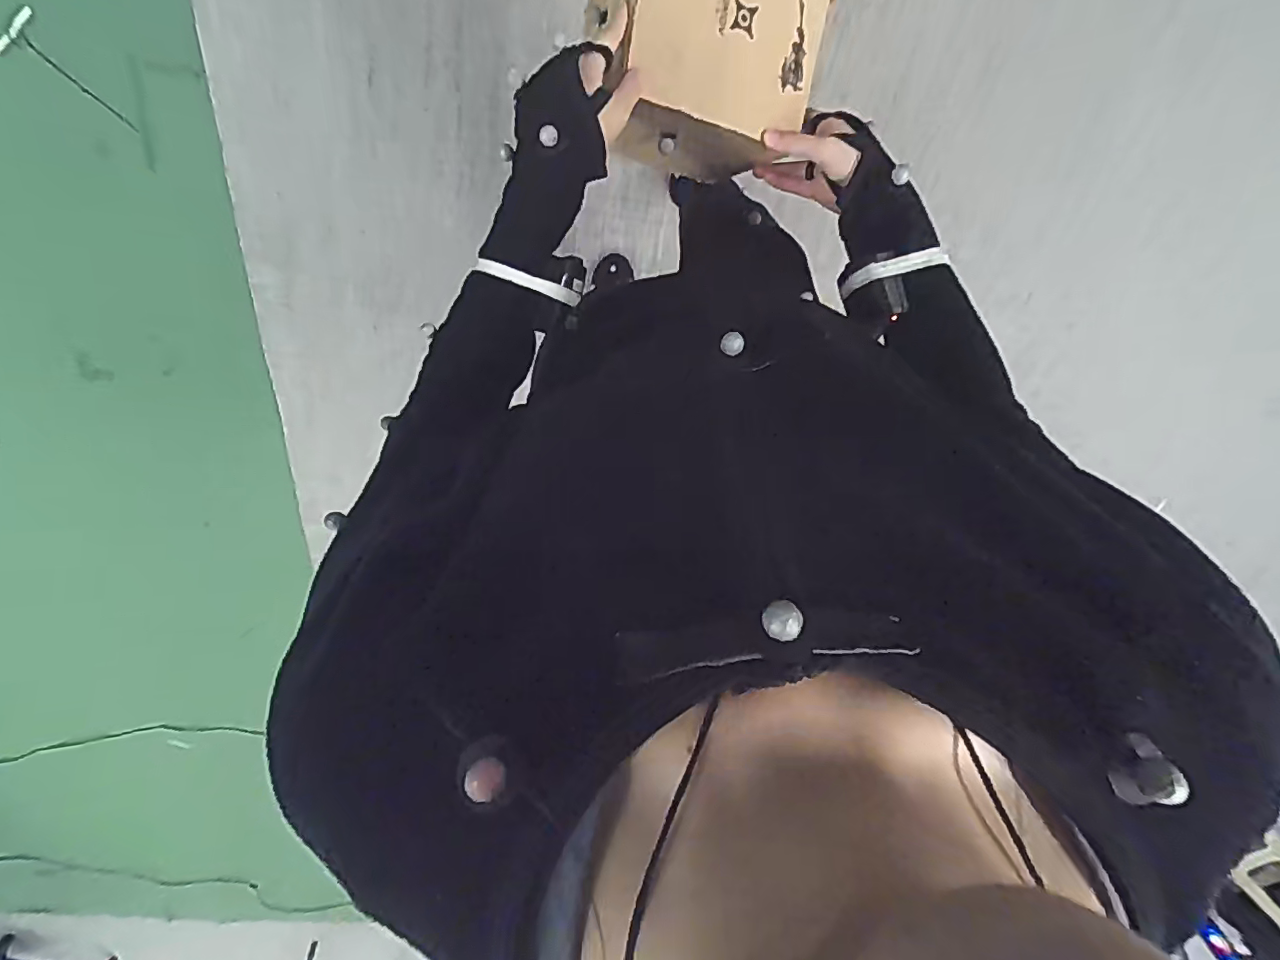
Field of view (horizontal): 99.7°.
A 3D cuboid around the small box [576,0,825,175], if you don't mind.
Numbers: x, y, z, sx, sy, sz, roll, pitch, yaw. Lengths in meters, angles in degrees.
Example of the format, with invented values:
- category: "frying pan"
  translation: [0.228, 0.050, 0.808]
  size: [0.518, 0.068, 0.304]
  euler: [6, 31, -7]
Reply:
- category: "small box"
  translation: [0.046, -0.409, 0.510]
  size: [0.179, 0.176, 0.168]
  euler: [5, 107, -21]
